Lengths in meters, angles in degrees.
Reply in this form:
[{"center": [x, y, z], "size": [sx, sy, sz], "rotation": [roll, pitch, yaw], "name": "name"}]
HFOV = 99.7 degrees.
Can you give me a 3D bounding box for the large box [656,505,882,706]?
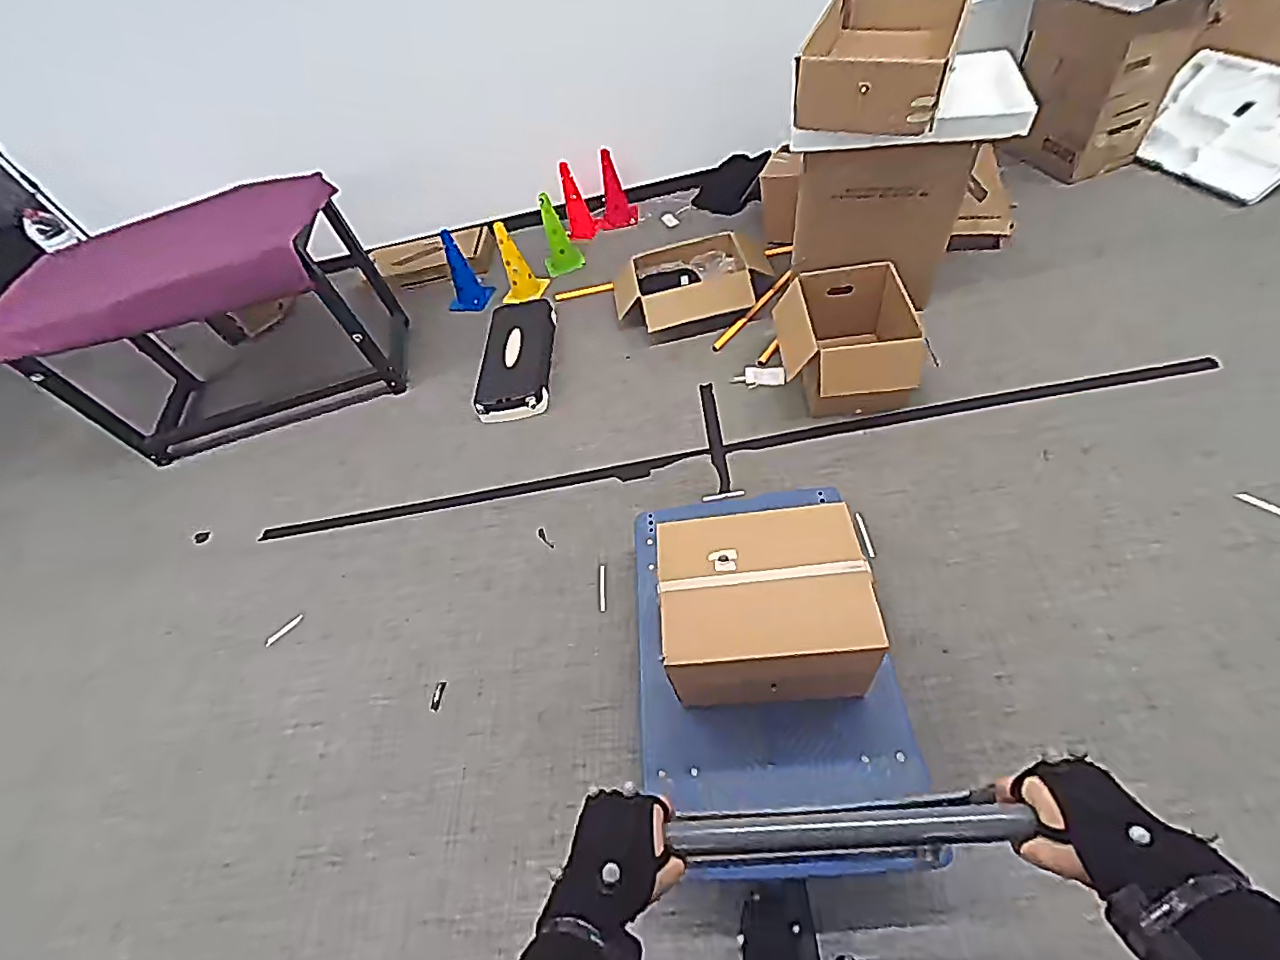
[{"center": [0.266, 0.291, 1.198], "size": [0.408, 0.320, 0.320], "rotation": [-8, 51, 8], "name": "large box"}]
